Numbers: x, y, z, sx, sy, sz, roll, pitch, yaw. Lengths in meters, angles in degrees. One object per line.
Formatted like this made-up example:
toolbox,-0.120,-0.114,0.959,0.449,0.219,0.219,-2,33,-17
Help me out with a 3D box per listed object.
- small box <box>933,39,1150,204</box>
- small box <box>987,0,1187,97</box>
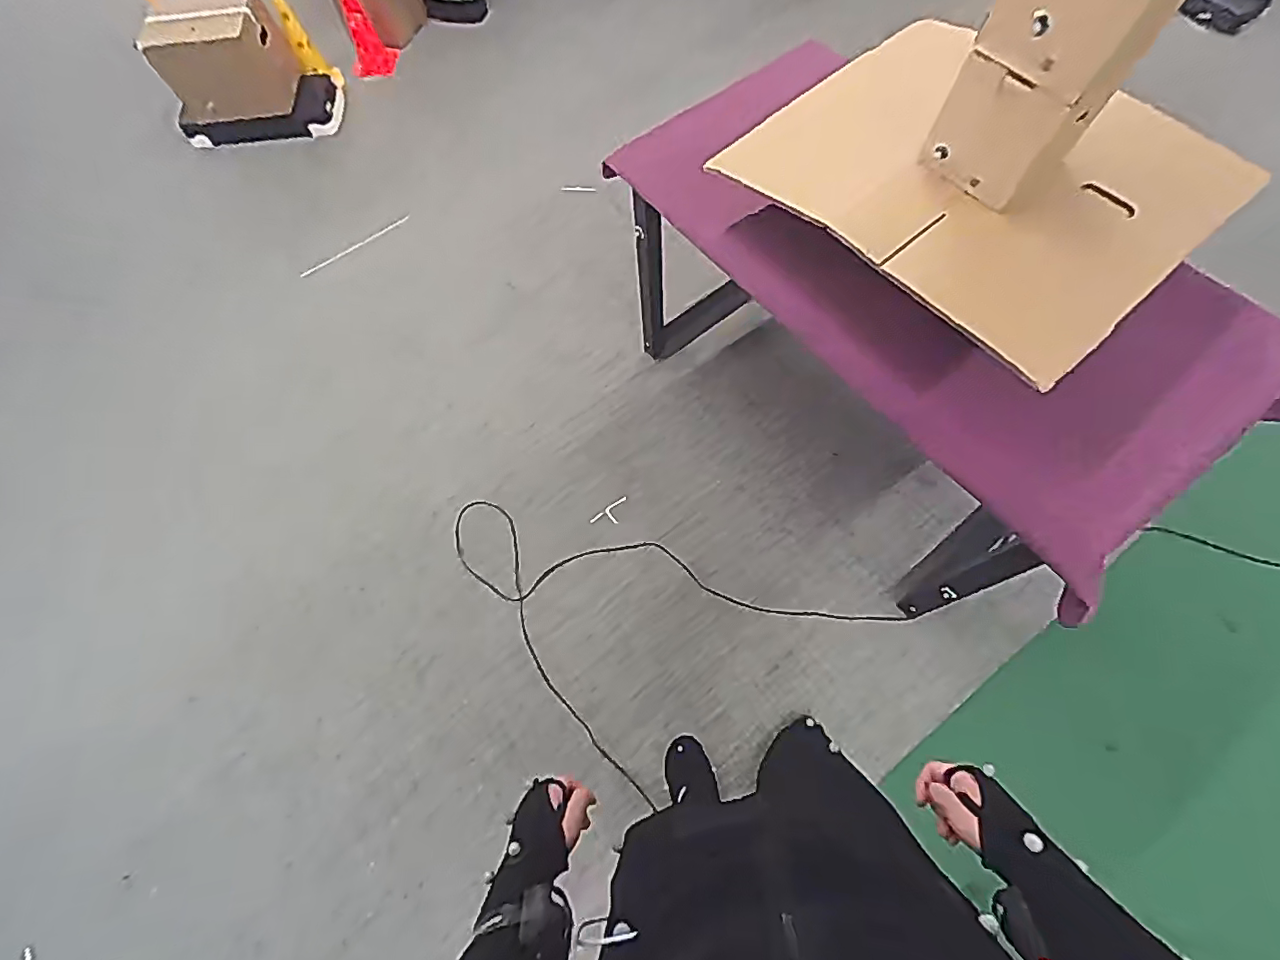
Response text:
small box,0.581,-0.560,0.815,0.179,0.176,0.168,-38,73,-13
small box,0.582,-0.626,0.666,0.179,0.176,0.168,-40,73,-12
